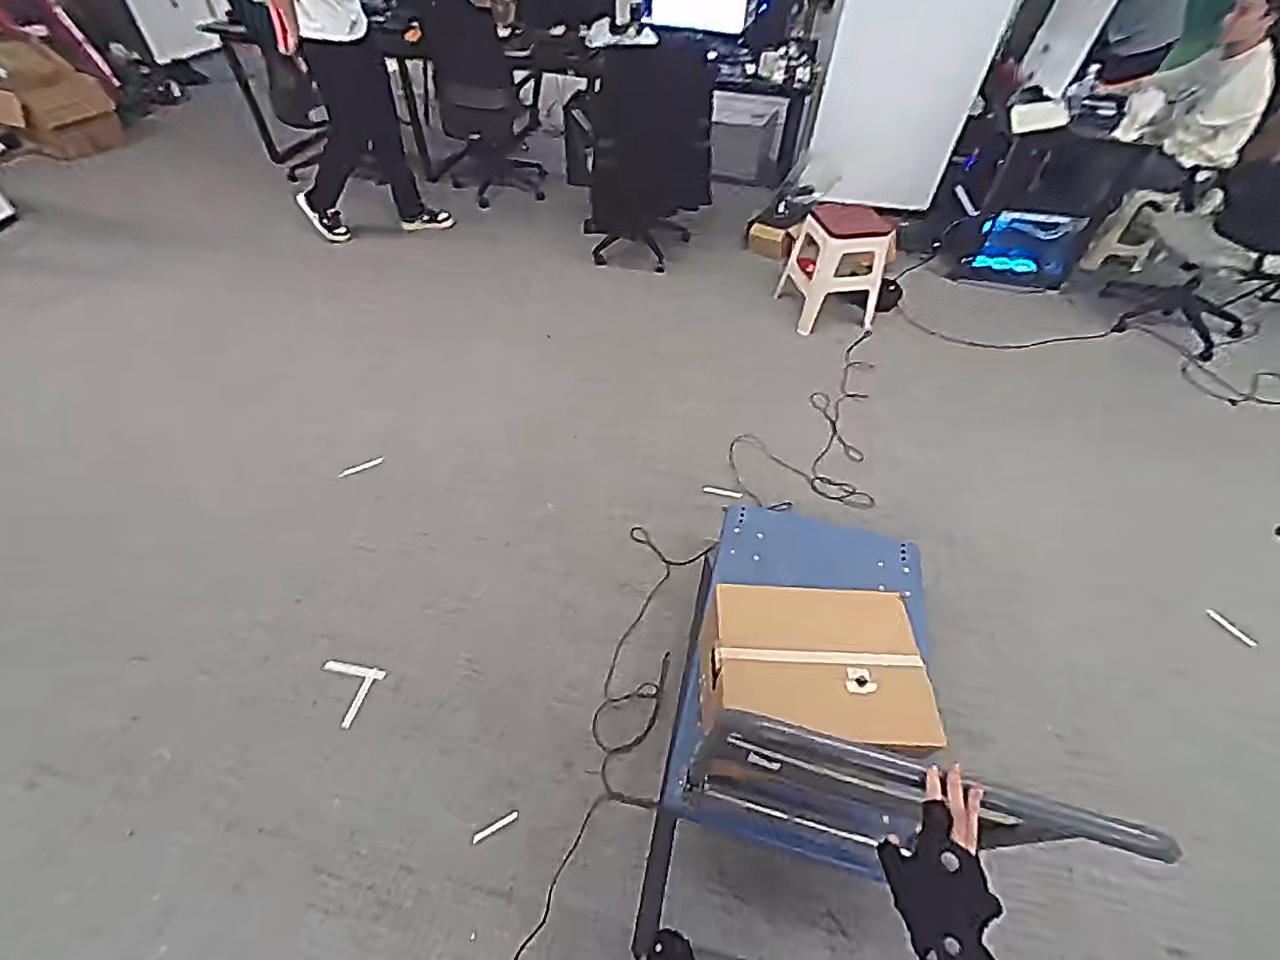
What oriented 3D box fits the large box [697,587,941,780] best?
[{"bbox_3d":[0.348,0.452,1.189,0.408,0.320,0.320,3,50,-1],"label":"large box"}]
